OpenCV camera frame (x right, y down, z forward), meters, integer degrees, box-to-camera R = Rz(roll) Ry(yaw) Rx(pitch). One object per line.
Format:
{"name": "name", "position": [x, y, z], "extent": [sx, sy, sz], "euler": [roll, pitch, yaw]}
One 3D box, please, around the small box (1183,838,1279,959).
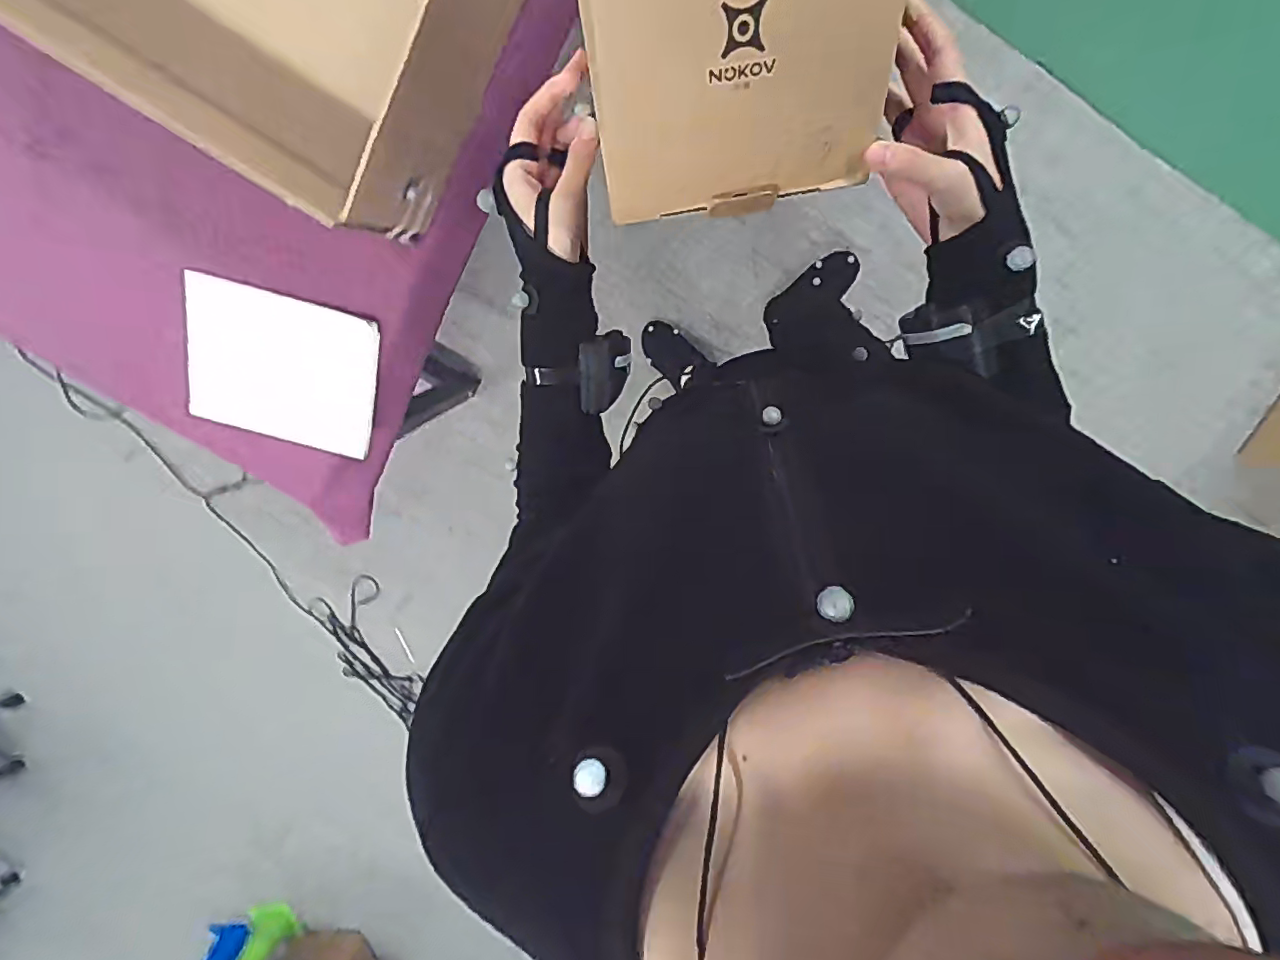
{"name": "small box", "position": [1.378, 0.950, 1.210], "extent": [0.179, 0.176, 0.168], "euler": [-24, 107, 11]}

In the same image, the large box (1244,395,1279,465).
{"name": "large box", "position": [1.756, -0.167, 1.214], "extent": [0.320, 0.320, 0.408], "euler": [16, 109, -3]}

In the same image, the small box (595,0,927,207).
{"name": "small box", "position": [0.056, -0.295, 0.319], "extent": [0.168, 0.176, 0.179], "euler": [-7, 141, 2]}
